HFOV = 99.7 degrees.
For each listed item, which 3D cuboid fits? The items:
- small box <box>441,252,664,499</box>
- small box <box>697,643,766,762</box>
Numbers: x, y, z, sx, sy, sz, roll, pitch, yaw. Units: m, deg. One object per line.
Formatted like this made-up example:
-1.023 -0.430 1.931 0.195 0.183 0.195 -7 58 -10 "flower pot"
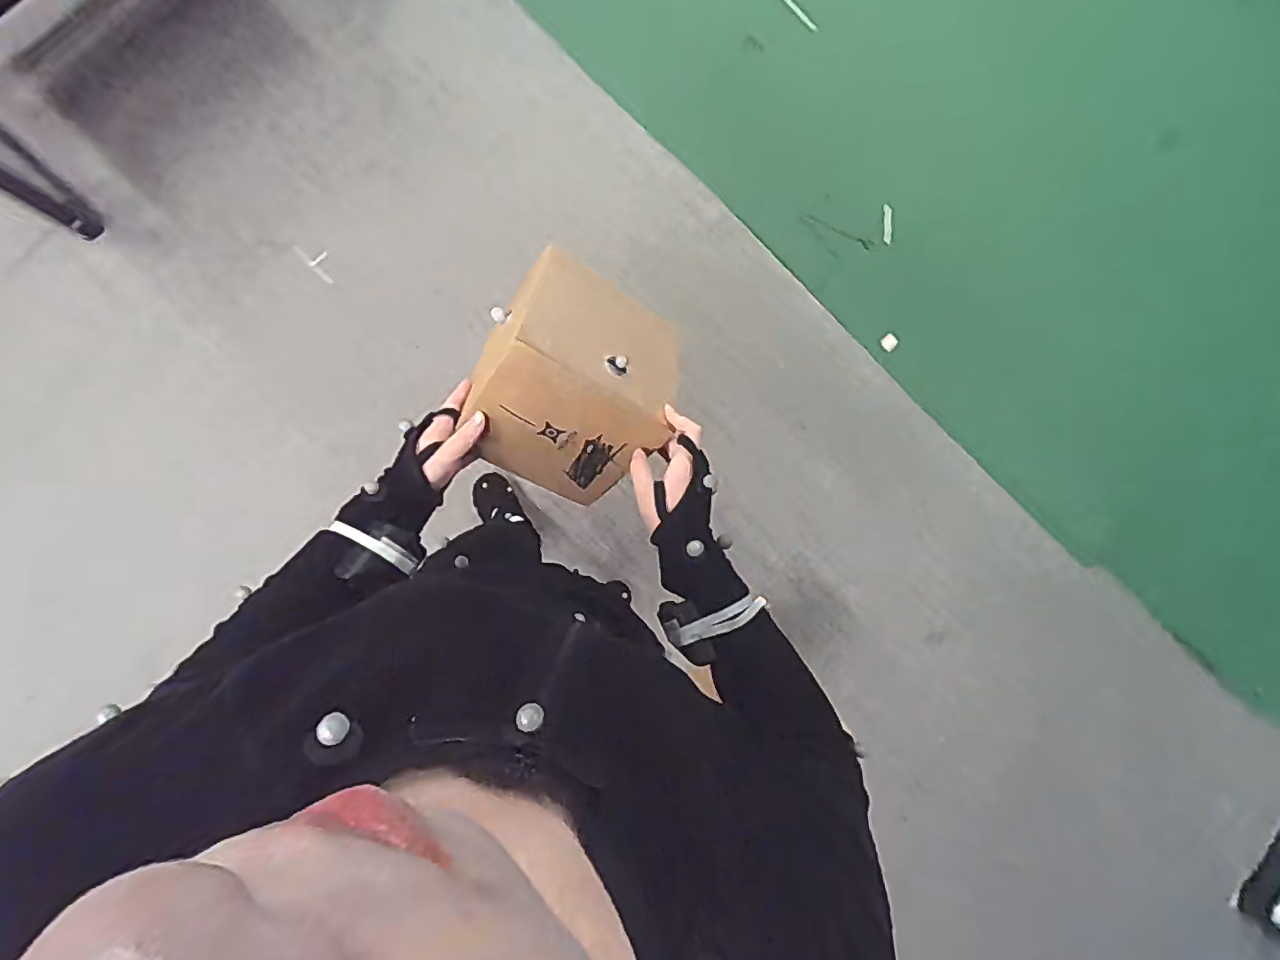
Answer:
-0.086 -0.113 0.597 0.179 0.168 0.176 27 46 -24 "small box"
0.257 0.509 1.271 0.179 0.176 0.168 -41 88 -7 "small box"
